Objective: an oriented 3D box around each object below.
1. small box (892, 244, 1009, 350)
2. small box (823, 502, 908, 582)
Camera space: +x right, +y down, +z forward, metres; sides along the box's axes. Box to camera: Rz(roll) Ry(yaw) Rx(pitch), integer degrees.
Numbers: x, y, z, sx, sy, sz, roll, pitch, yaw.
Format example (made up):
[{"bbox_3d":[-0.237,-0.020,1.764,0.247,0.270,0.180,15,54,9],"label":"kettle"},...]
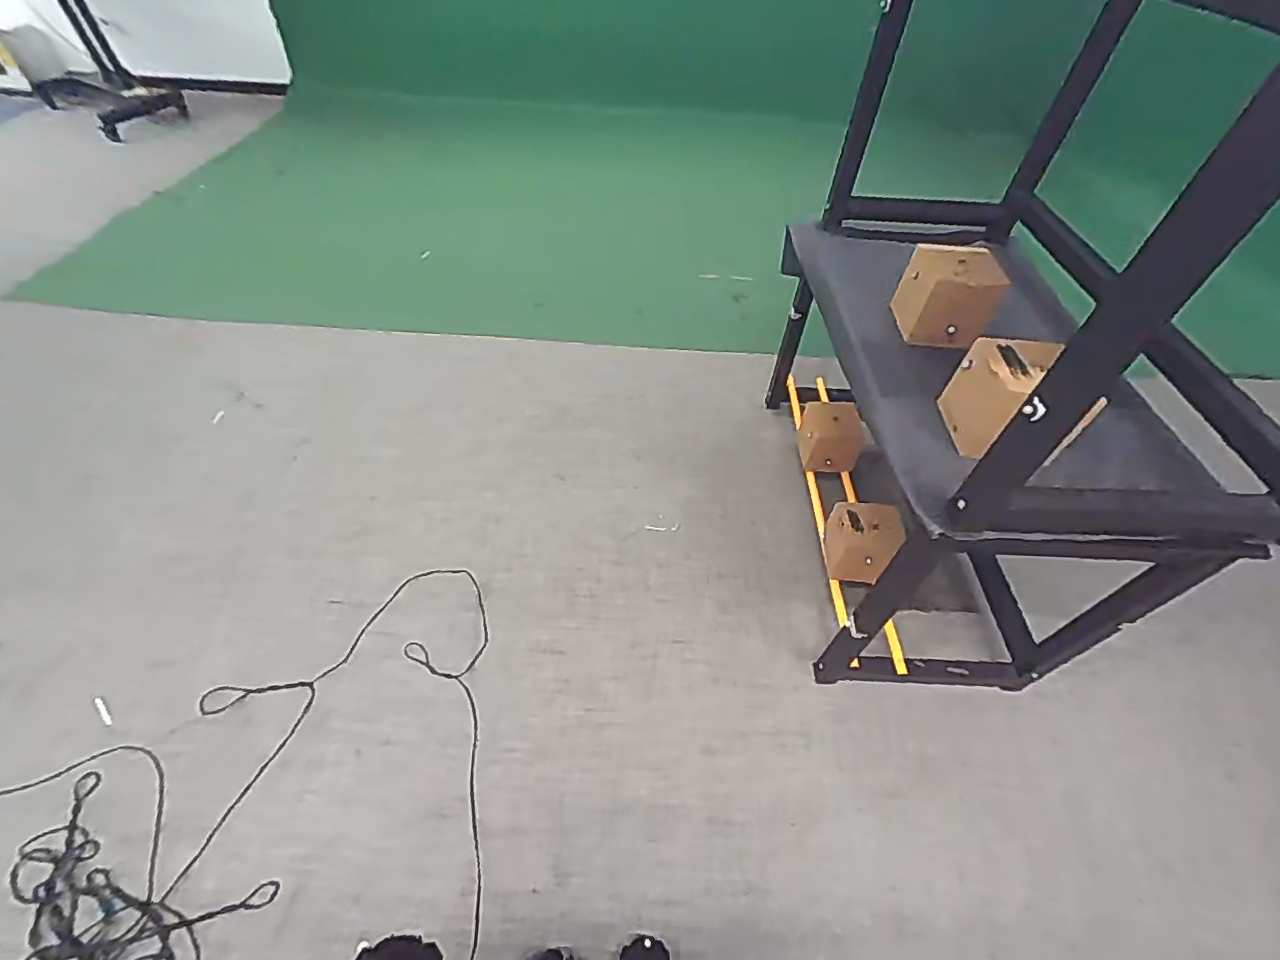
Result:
[{"bbox_3d":[0.726,-0.435,1.291,0.168,0.176,0.179,5,50,1],"label":"small box"},{"bbox_3d":[0.645,0.184,1.577,0.179,0.176,0.168,5,50,2],"label":"small box"}]
